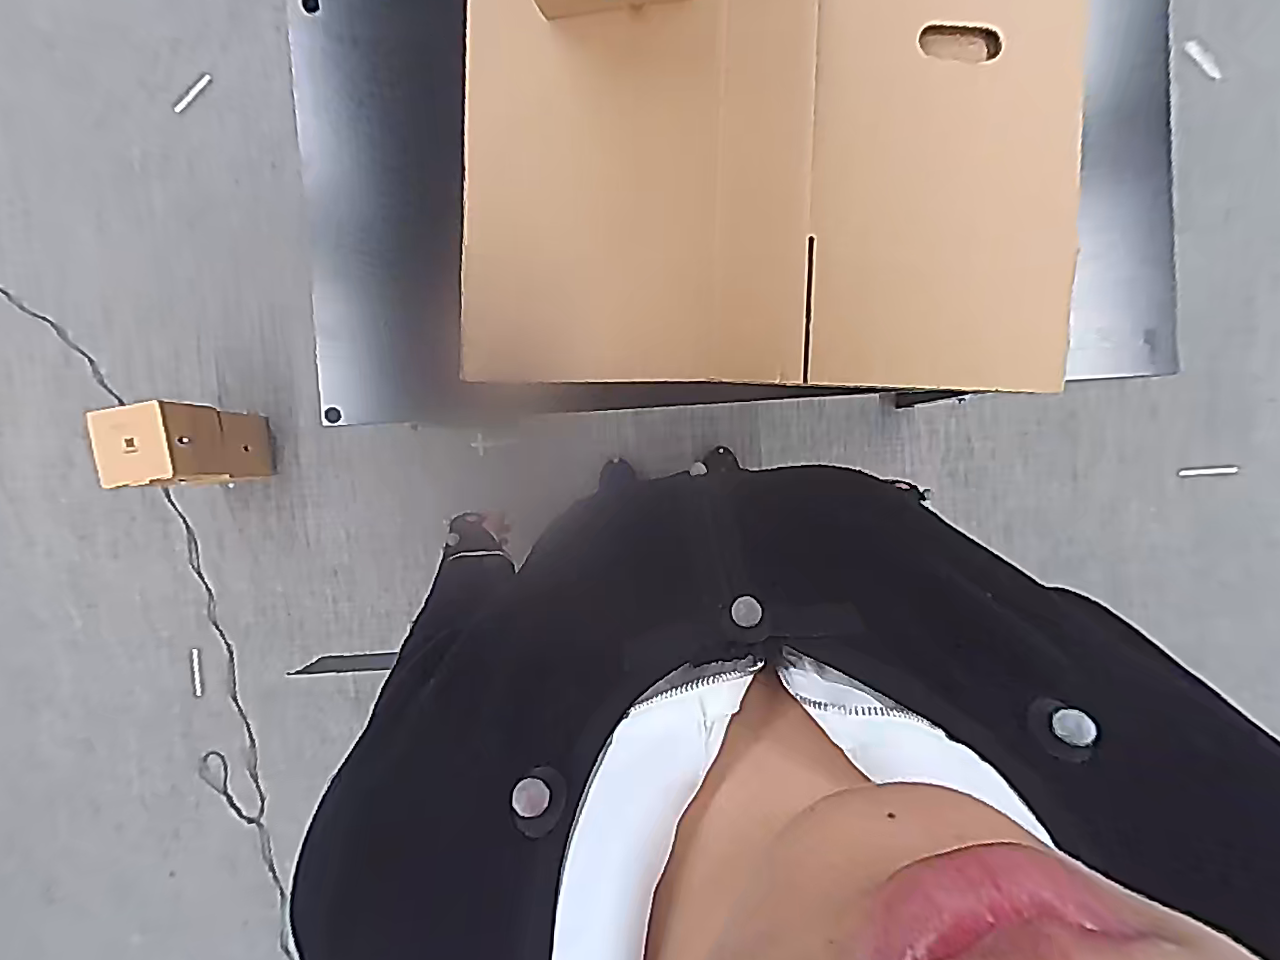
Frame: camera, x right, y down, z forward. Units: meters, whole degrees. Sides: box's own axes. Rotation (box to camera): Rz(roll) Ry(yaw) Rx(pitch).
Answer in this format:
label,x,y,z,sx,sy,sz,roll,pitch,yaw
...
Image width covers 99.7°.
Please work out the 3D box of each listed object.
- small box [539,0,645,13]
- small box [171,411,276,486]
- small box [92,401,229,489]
label,x,y,z,sx,sy,sz,roll,pitch,yaw
small box,-0.041,-0.598,0.512,0.179,0.176,0.168,3,92,13
small box,-1.114,-0.082,1.439,0.168,0.176,0.179,-7,93,1
small box,-1.117,-0.082,1.276,0.168,0.176,0.179,-10,92,1
